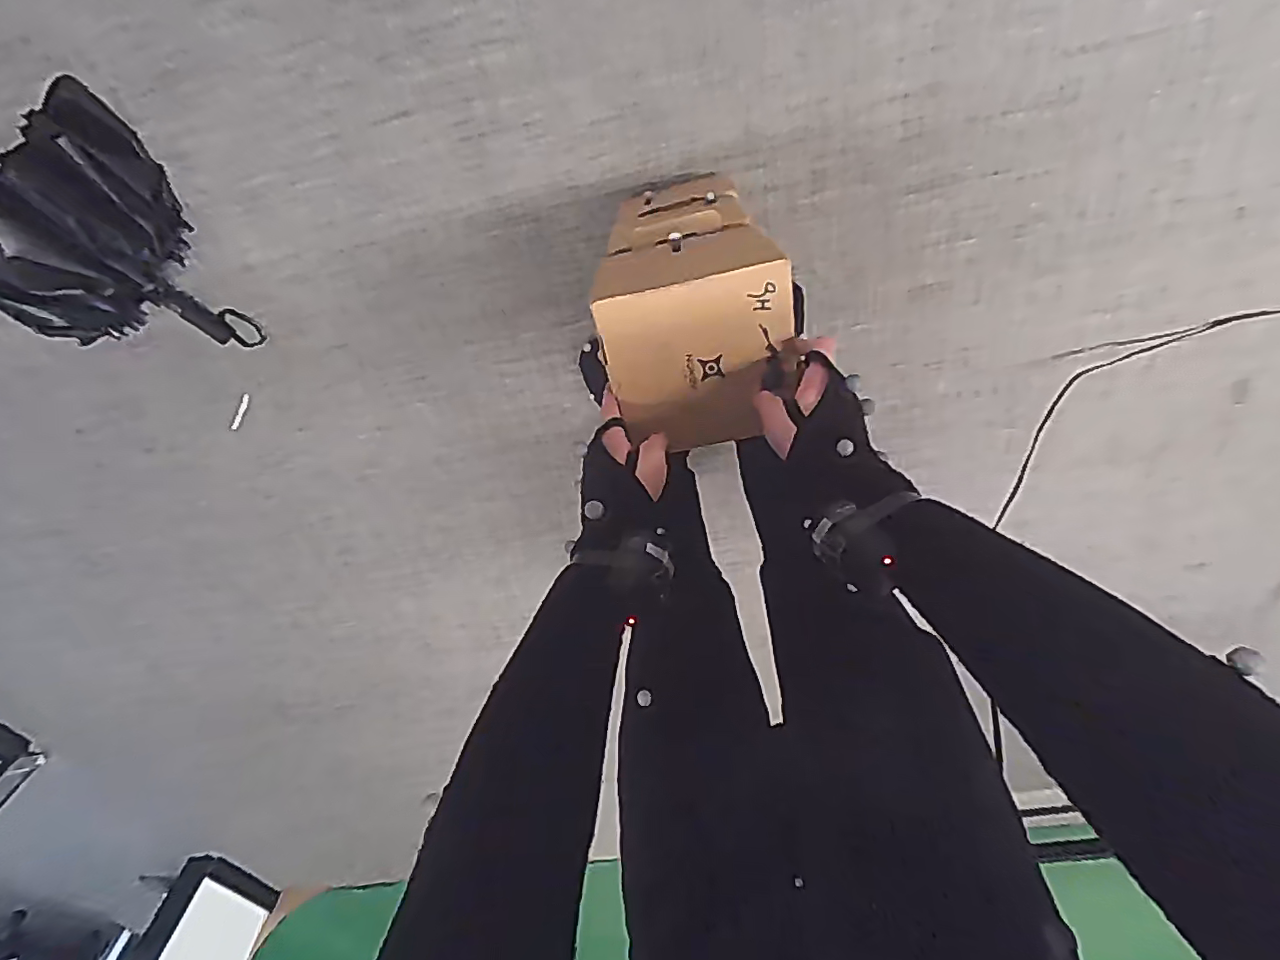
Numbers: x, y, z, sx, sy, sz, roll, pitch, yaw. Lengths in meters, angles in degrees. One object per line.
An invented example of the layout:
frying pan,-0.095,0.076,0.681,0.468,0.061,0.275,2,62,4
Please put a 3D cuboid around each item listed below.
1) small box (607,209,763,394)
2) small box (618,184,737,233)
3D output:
small box,0.059,-0.240,0.708,0.168,0.176,0.179,-10,125,9
small box,0.068,-0.341,0.837,0.168,0.176,0.179,-11,126,10
